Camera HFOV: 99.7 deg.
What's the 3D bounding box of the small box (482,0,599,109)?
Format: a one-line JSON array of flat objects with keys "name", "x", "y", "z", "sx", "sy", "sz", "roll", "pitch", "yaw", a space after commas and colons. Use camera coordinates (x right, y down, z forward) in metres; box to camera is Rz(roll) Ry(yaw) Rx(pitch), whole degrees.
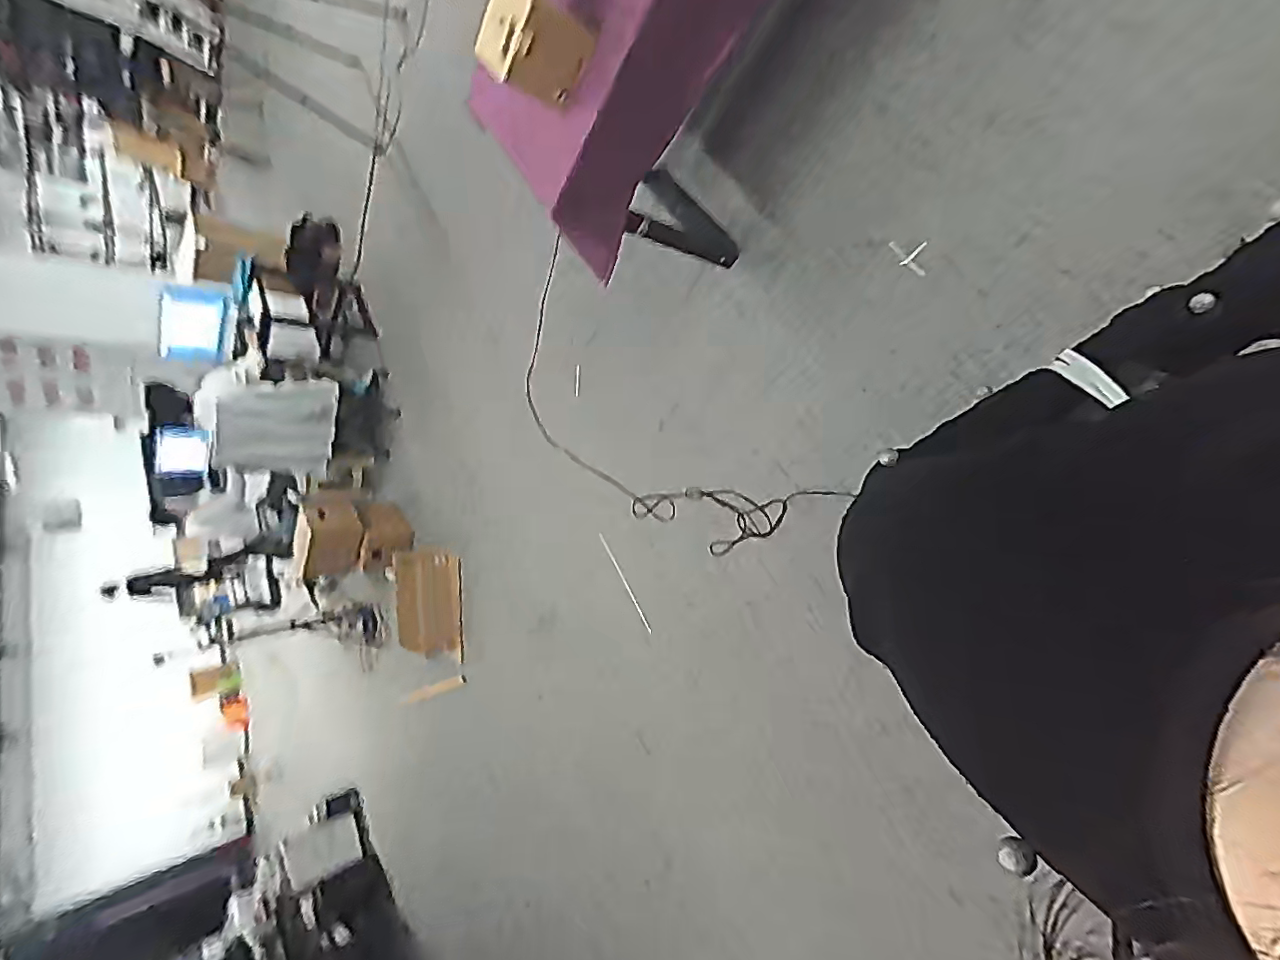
[{"name": "small box", "x": -0.218, "y": -0.961, "z": 1.190, "sx": 0.168, "sy": 0.176, "sz": 0.179, "roll": -50, "pitch": 58, "yaw": 34}]
